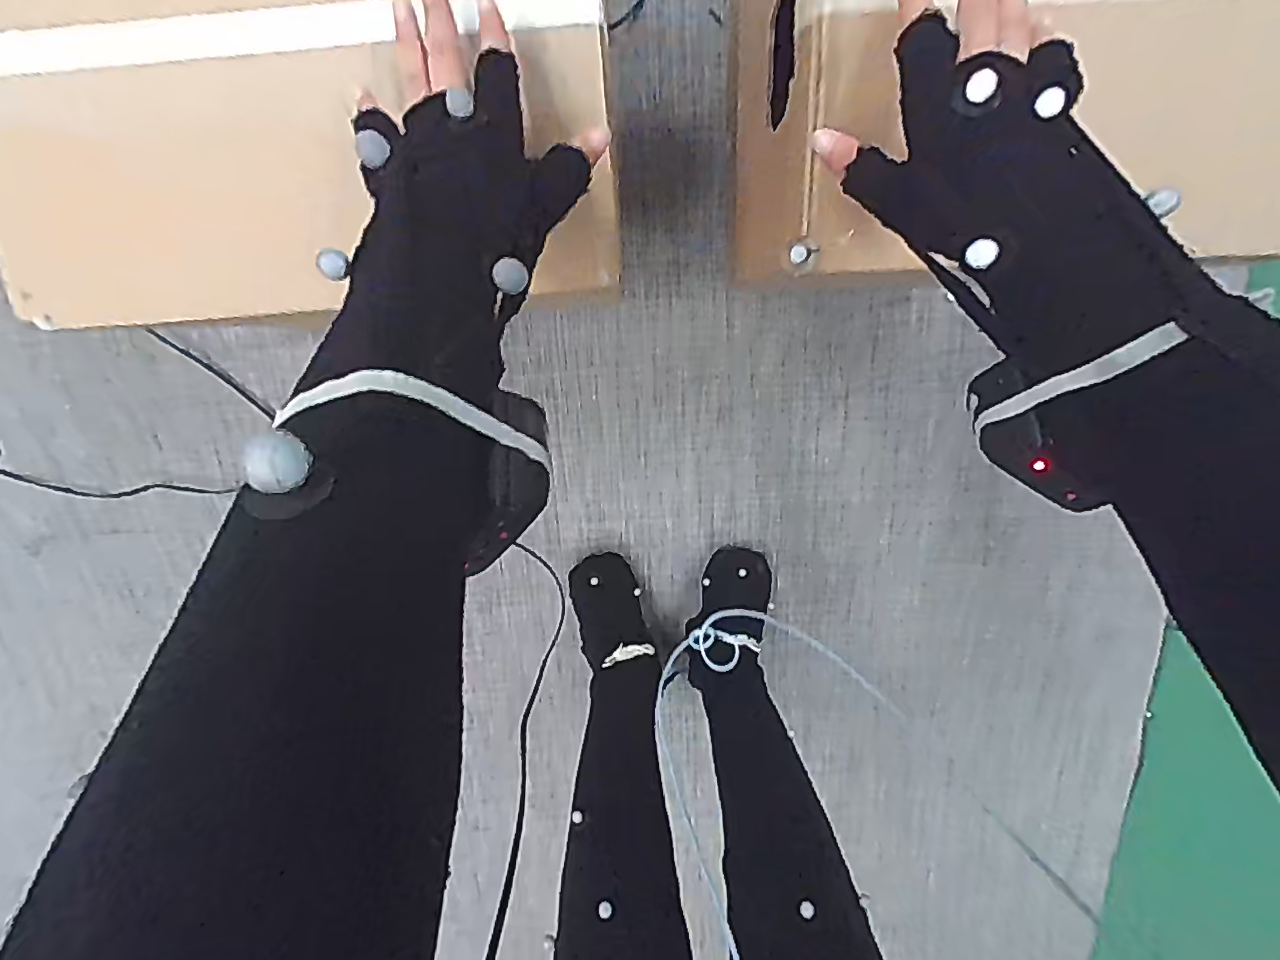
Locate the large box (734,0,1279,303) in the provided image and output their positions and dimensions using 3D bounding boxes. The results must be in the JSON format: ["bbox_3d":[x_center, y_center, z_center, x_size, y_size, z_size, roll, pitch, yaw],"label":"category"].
[{"bbox_3d":[0.314,-0.336,0.504,0.408,0.320,0.320,-2,106,0],"label":"large box"}]
